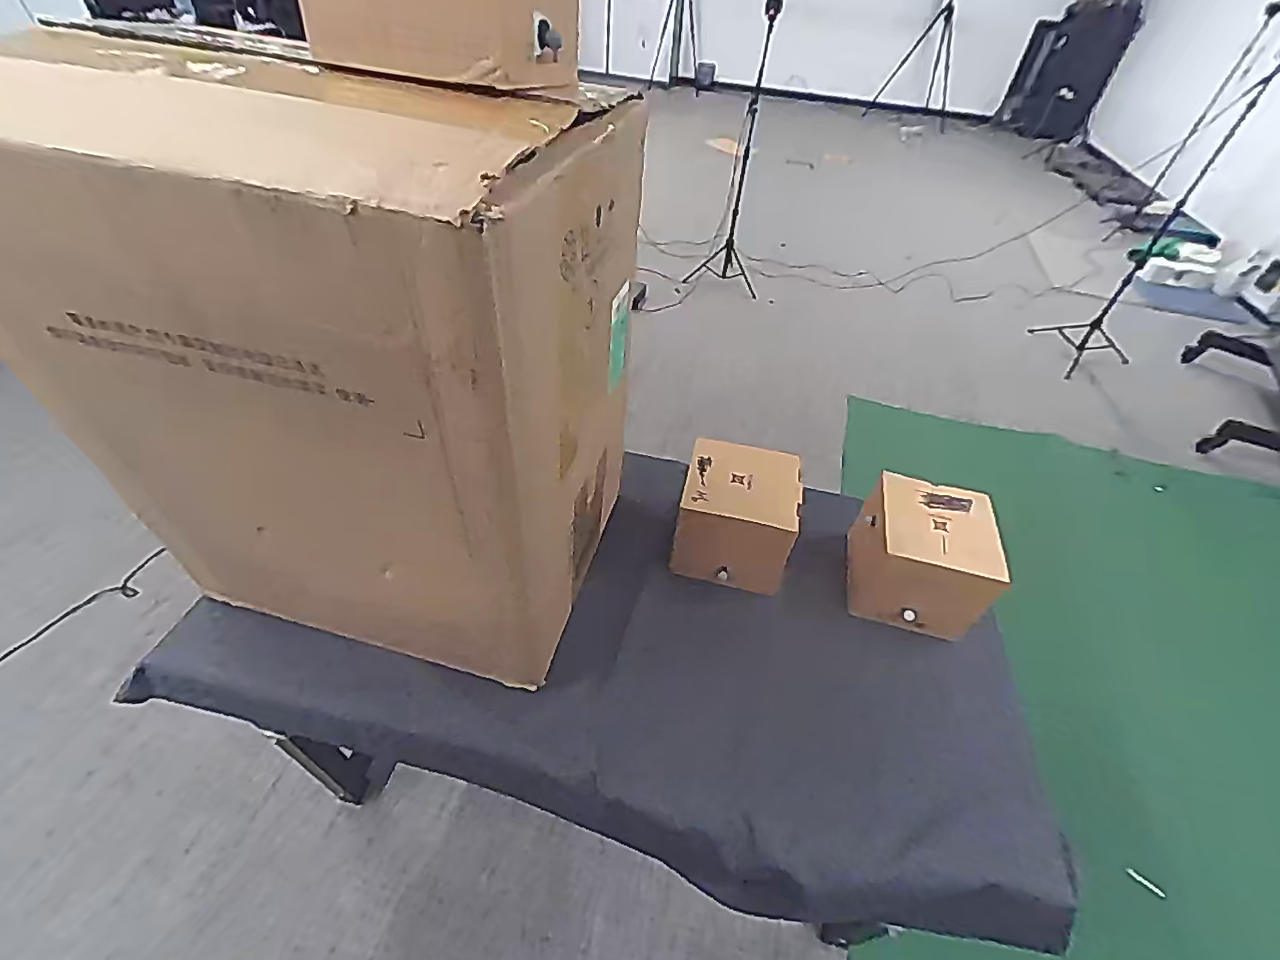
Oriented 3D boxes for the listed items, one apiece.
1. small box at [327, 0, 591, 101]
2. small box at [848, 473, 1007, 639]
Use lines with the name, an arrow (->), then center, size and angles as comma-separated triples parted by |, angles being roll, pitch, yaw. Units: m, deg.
small box -> -0.147, -0.432, 0.454 | 0.179, 0.176, 0.168 | 15, 40, 7
small box -> 0.444, 0.122, 0.869 | 0.168, 0.176, 0.179 | 14, 46, 8
